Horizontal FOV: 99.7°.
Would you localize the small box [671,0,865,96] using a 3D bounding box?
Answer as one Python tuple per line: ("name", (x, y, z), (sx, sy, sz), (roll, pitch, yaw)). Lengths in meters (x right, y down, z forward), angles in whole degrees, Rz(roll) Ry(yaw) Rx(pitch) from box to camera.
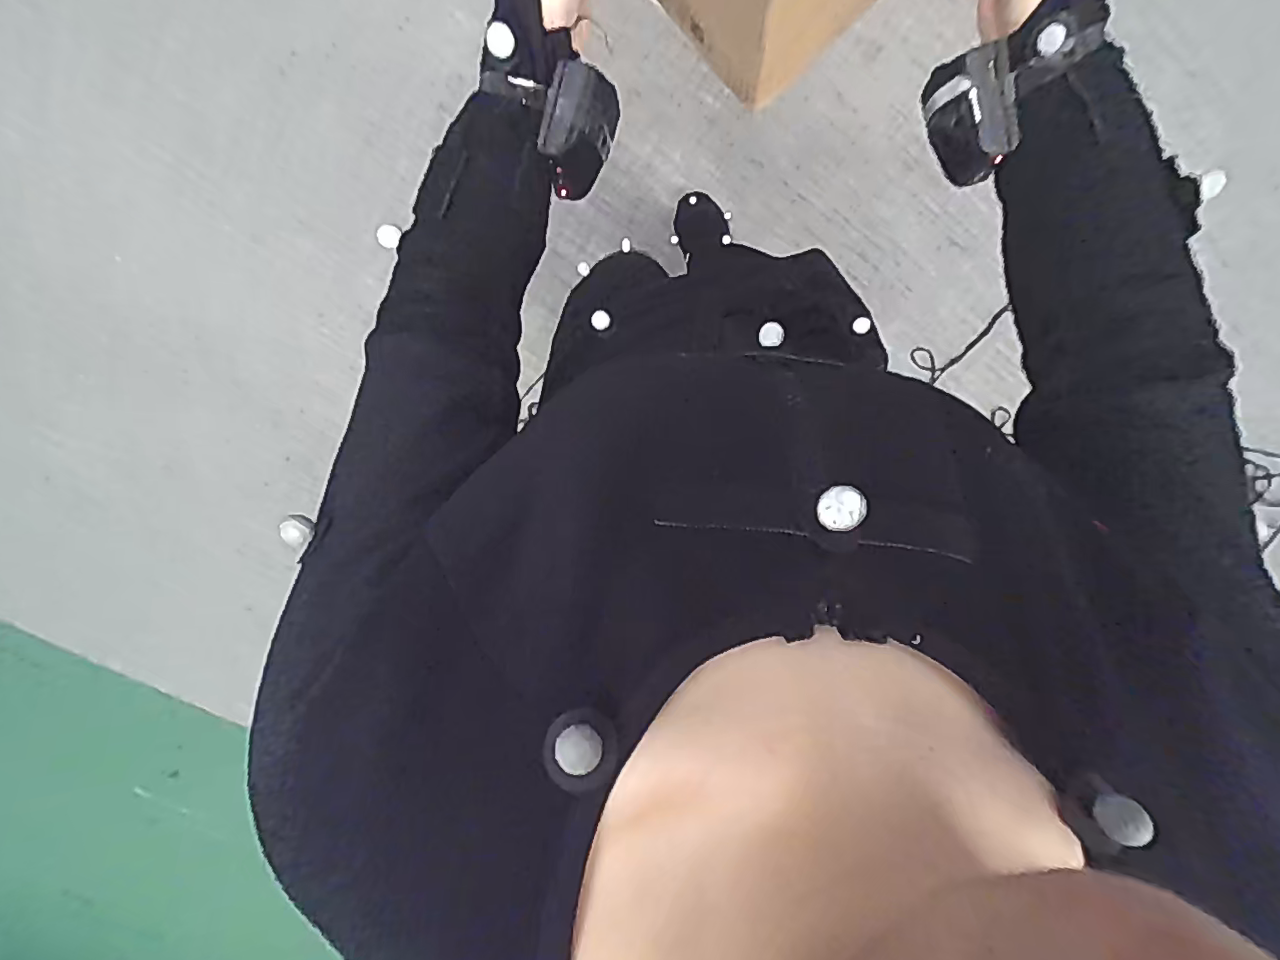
("small box", (0.079, -0.366, 0.287), (0.179, 0.176, 0.168), (-41, 90, 10))
